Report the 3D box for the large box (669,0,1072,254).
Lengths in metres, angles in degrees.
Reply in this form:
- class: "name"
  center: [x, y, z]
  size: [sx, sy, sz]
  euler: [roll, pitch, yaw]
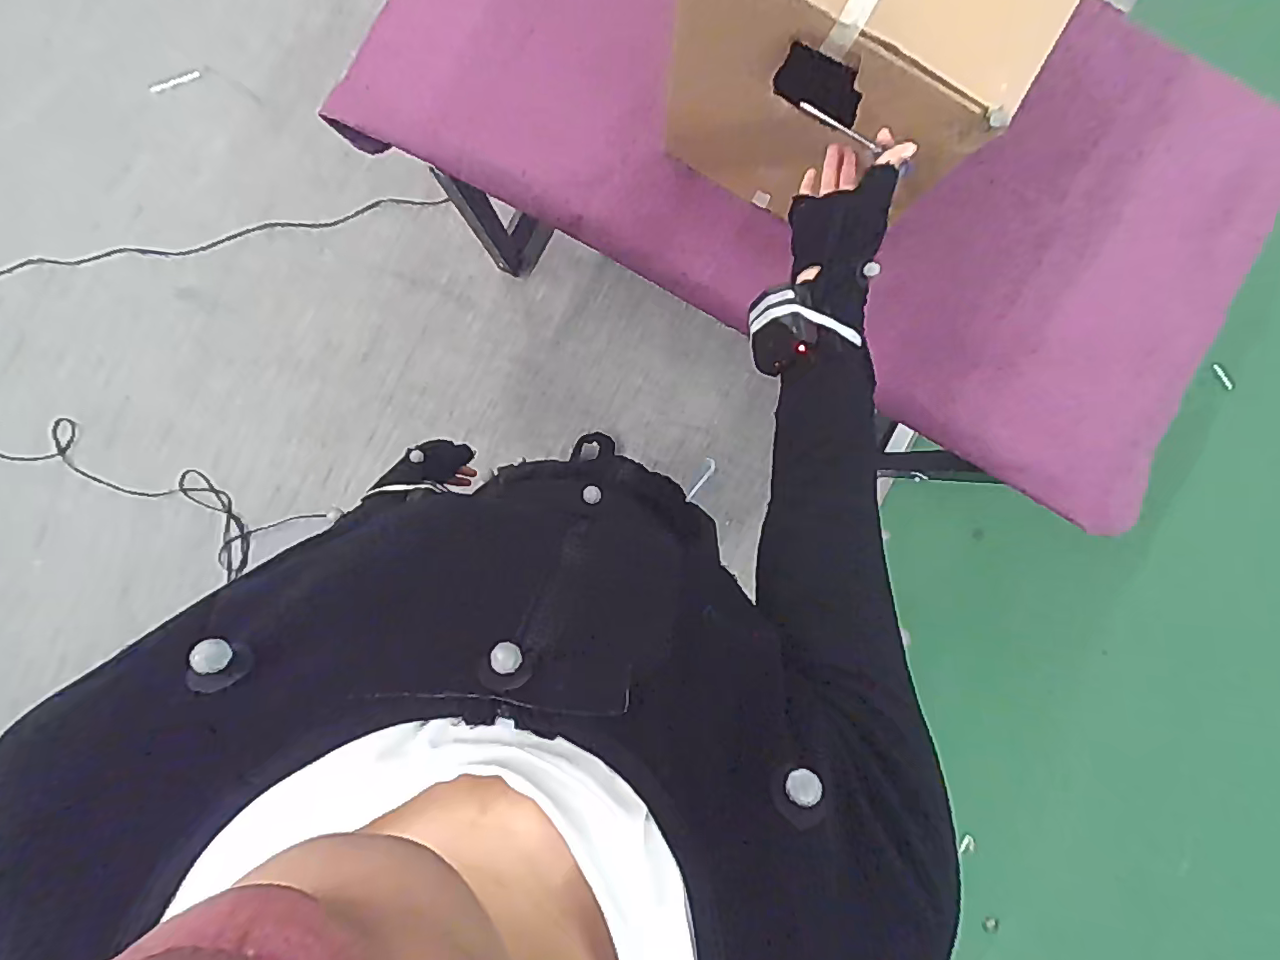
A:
- class: "large box"
  center: [0.268, -0.554, 0.607]
  size: [0.320, 0.320, 0.408]
  euler: [30, 92, -2]
